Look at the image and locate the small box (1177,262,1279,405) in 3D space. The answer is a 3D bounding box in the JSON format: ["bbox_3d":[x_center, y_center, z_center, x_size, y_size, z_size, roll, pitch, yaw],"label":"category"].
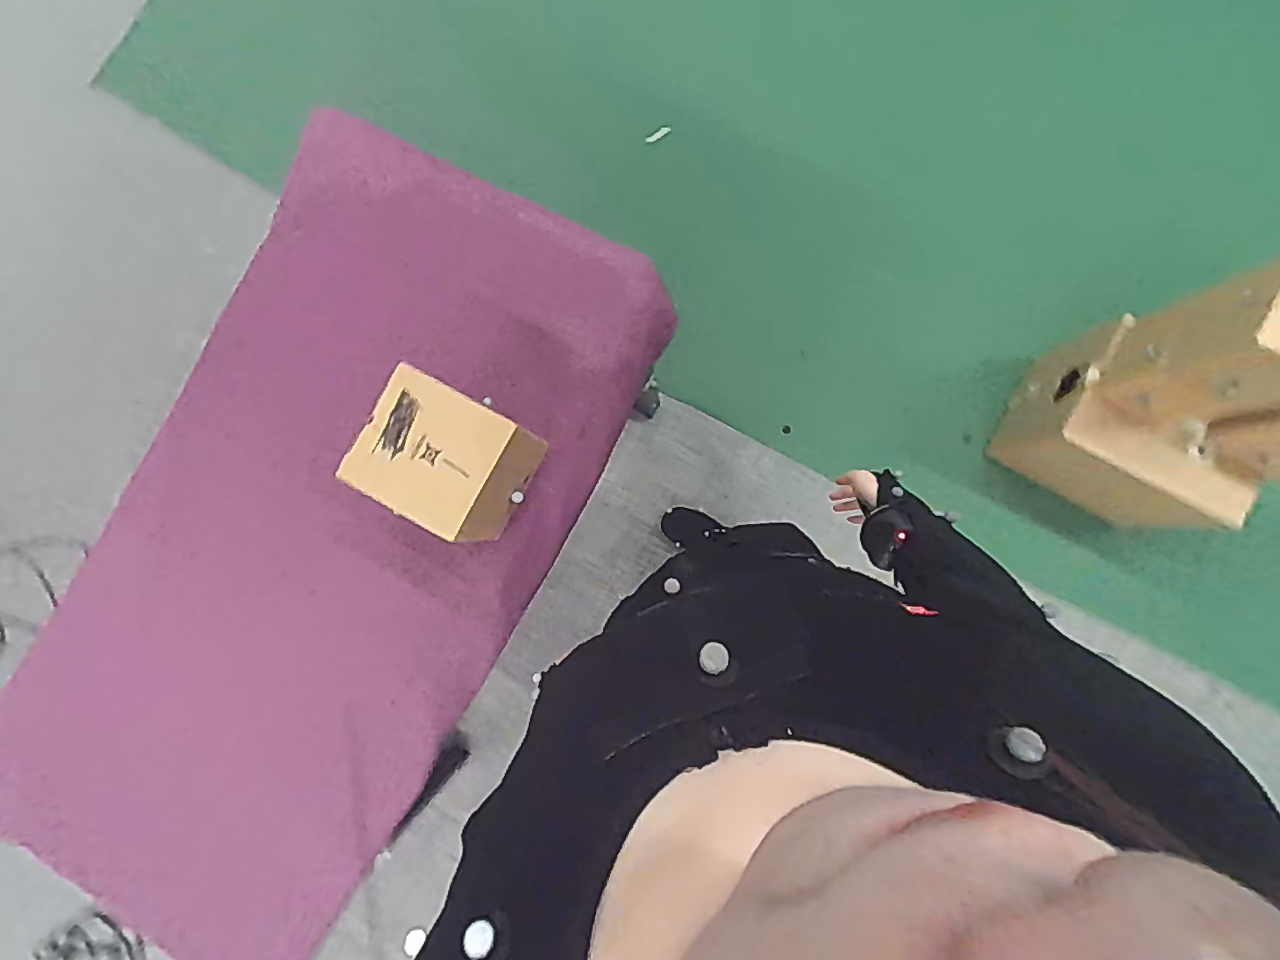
[{"bbox_3d":[1.076,-0.251,0.905,0.168,0.176,0.179,28,88,6],"label":"small box"}]

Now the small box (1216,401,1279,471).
[{"bbox_3d":[1.305,-0.123,1.039,0.179,0.176,0.168,34,88,7],"label":"small box"}]

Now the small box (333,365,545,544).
[{"bbox_3d":[-0.256,-0.025,0.732,0.179,0.176,0.168,28,88,6],"label":"small box"}]

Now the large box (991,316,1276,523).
[{"bbox_3d":[1.172,-0.123,1.296,0.408,0.320,0.320,29,88,6],"label":"large box"}]

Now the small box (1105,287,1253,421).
[{"bbox_3d":[1.087,-0.240,1.069,0.168,0.176,0.179,30,88,6],"label":"small box"}]
